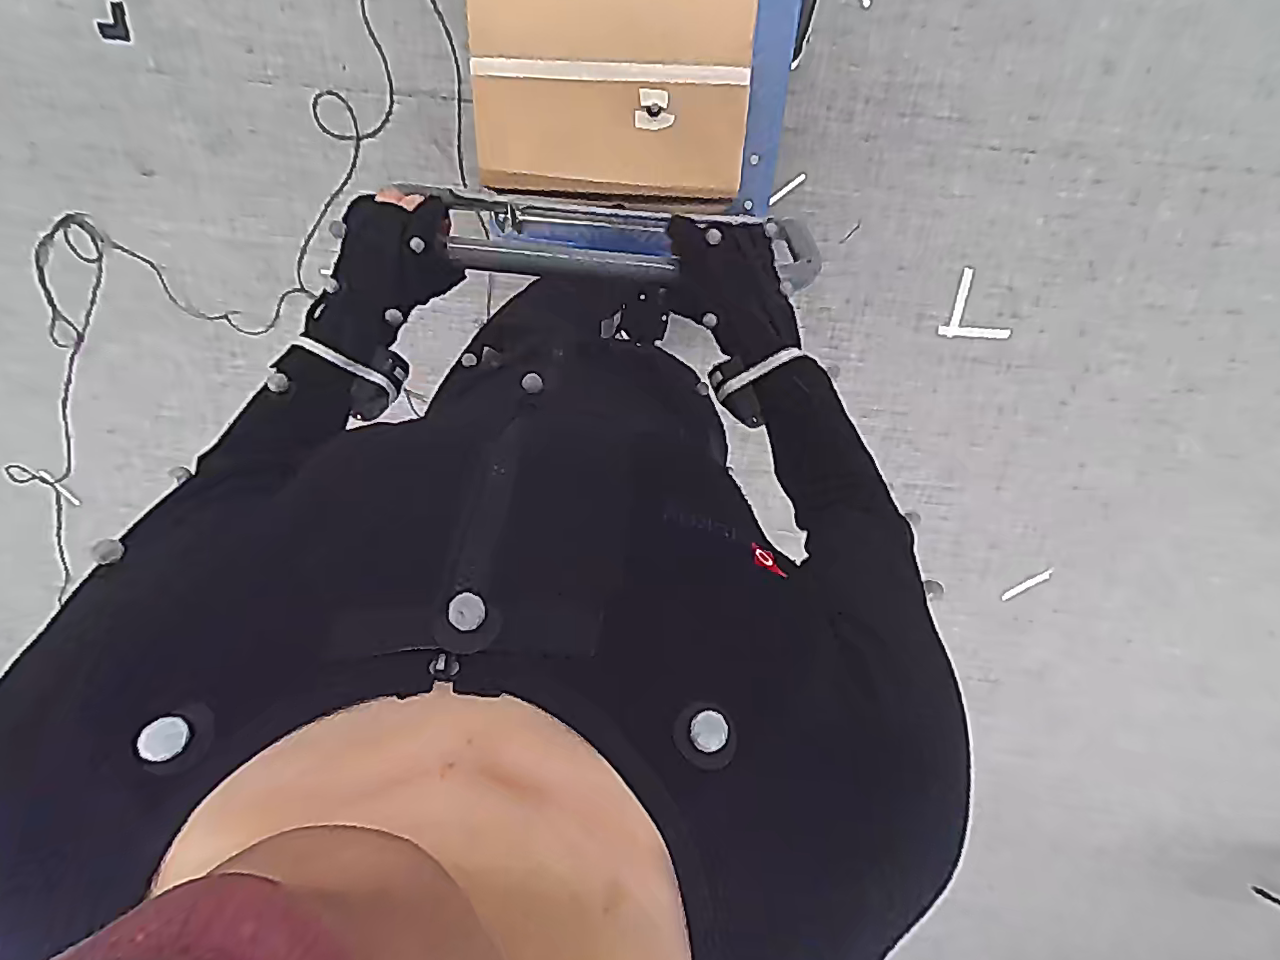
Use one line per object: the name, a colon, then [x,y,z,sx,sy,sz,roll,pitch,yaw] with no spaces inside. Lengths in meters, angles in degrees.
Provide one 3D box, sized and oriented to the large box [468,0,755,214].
large box: [-0.041,-0.636,0.915,0.408,0.320,0.320,3,114,1]
